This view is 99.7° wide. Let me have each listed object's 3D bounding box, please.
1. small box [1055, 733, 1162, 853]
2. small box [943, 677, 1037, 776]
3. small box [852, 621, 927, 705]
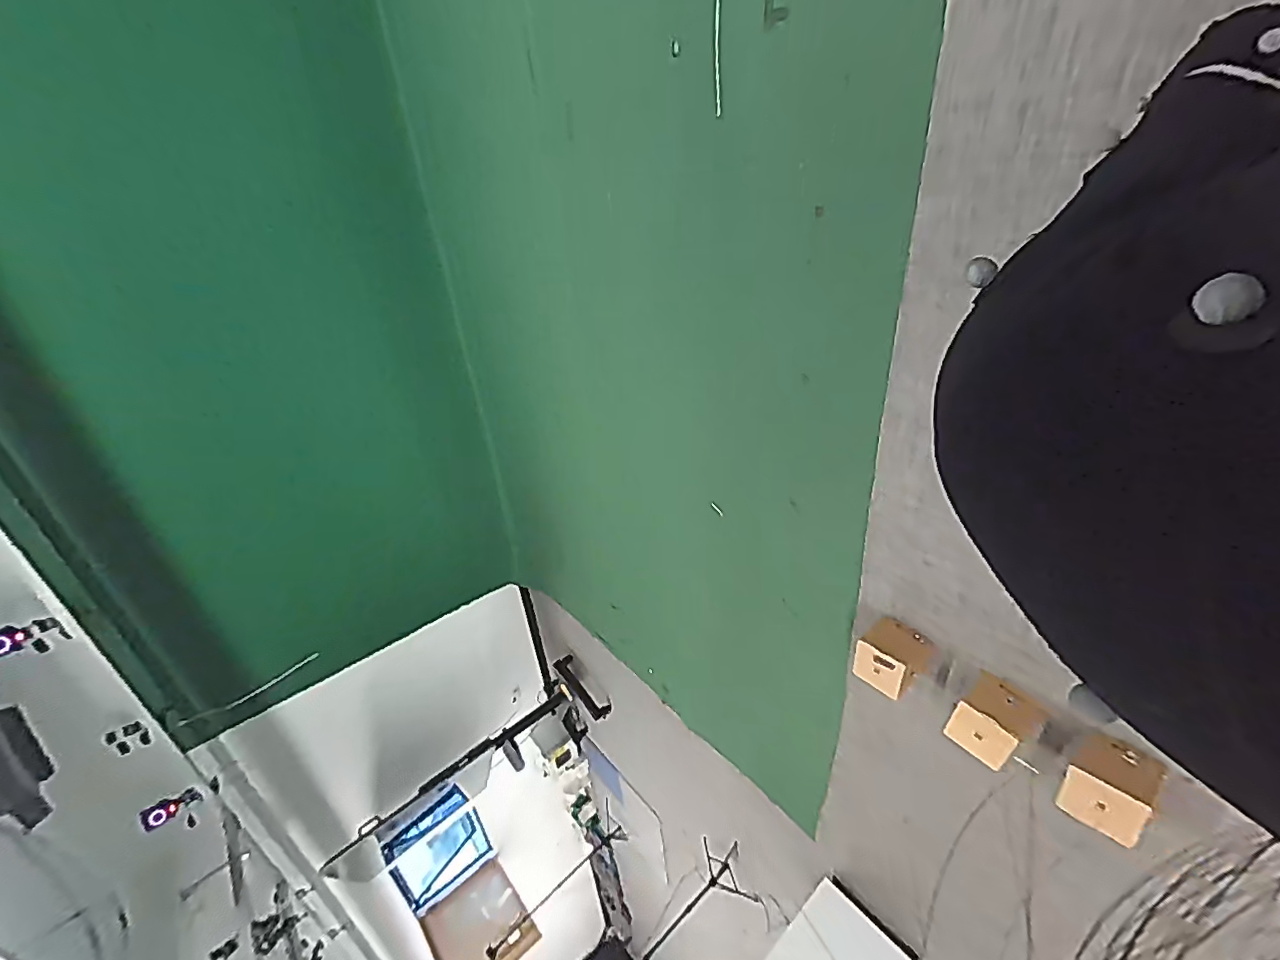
[{"bbox_3d":[1.242,0.823,1.434,0.168,0.176,0.179,22,127,44],"label":"small box"},{"bbox_3d":[1.060,0.740,1.637,0.168,0.176,0.179,33,135,40],"label":"small box"},{"bbox_3d":[0.854,0.619,1.848,0.168,0.176,0.179,28,134,43],"label":"small box"}]
